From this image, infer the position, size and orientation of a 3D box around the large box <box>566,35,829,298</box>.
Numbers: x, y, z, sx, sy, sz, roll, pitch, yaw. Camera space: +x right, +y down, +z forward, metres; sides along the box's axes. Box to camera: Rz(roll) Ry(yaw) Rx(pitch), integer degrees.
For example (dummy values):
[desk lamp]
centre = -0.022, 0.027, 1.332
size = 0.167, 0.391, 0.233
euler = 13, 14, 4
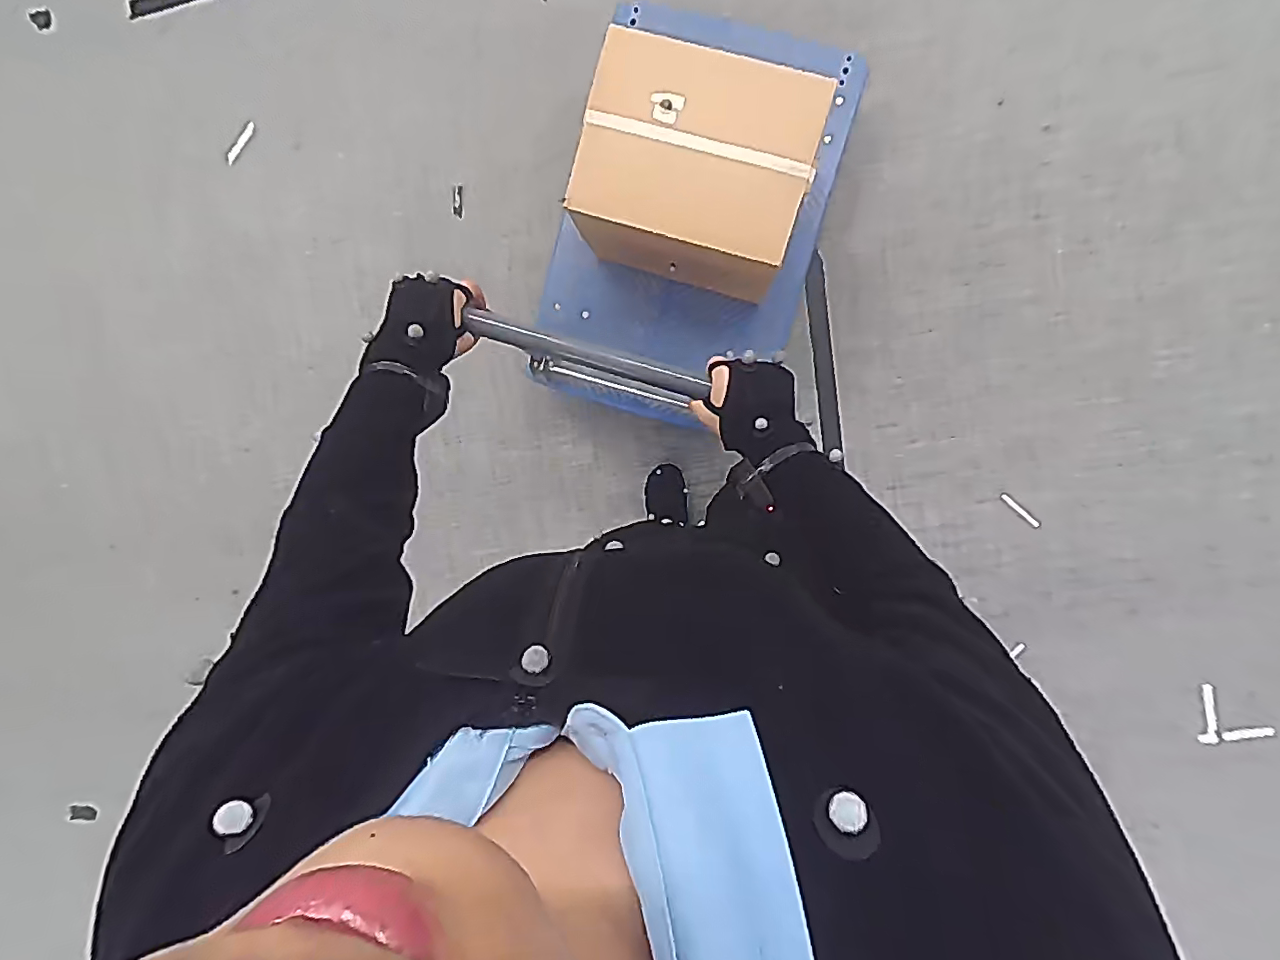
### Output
[large box]
centre = 0.113, -0.598, 1.096
size = 0.408, 0.320, 0.320
euler = 17, 96, 5
